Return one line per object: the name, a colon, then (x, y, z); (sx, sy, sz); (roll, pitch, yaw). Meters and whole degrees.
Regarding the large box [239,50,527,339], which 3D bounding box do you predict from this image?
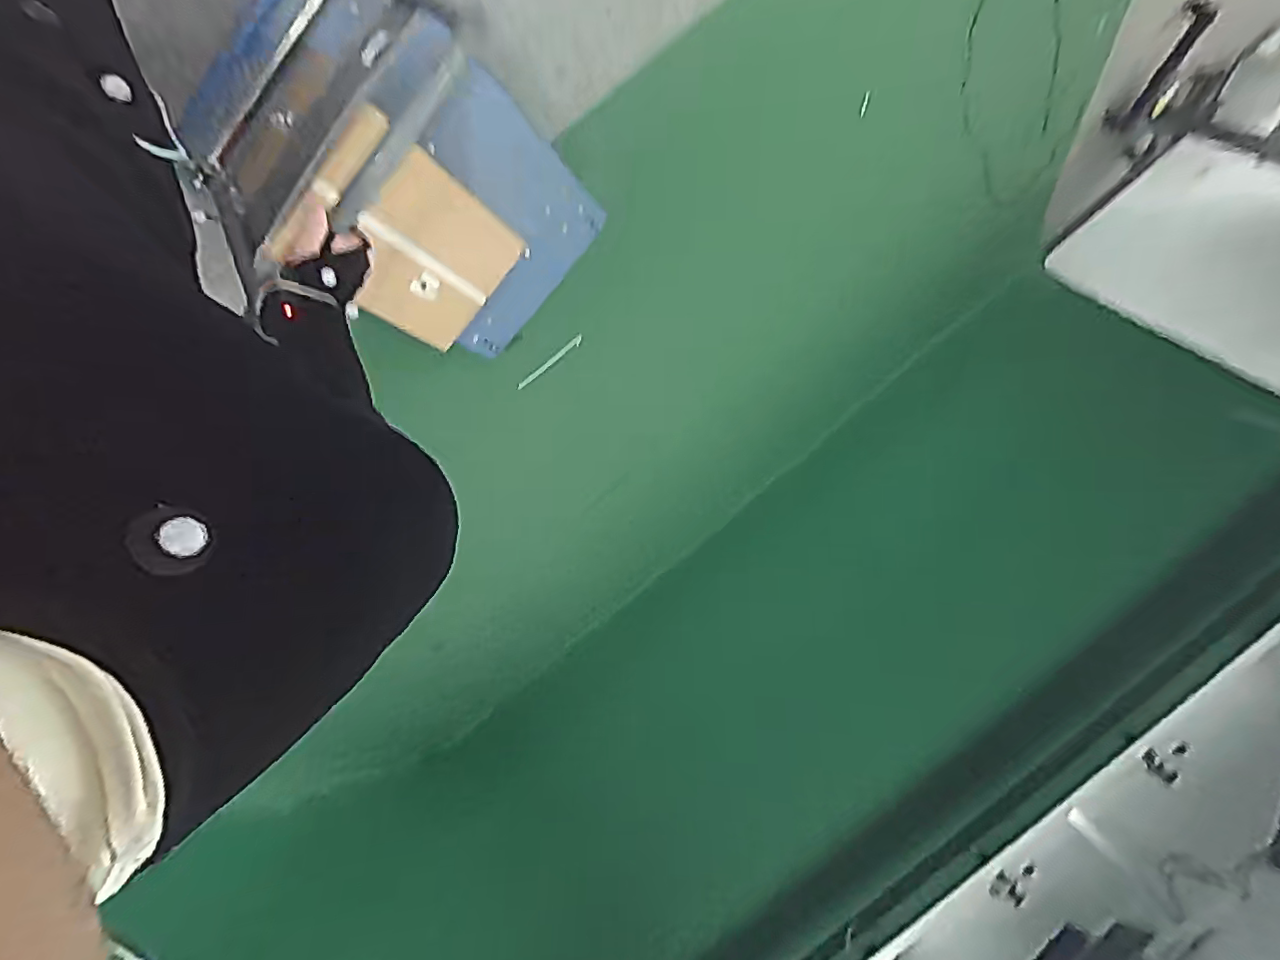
large box: (-0.535, -0.580, 1.152); (0.320, 0.320, 0.408); (-46, 150, 12)
